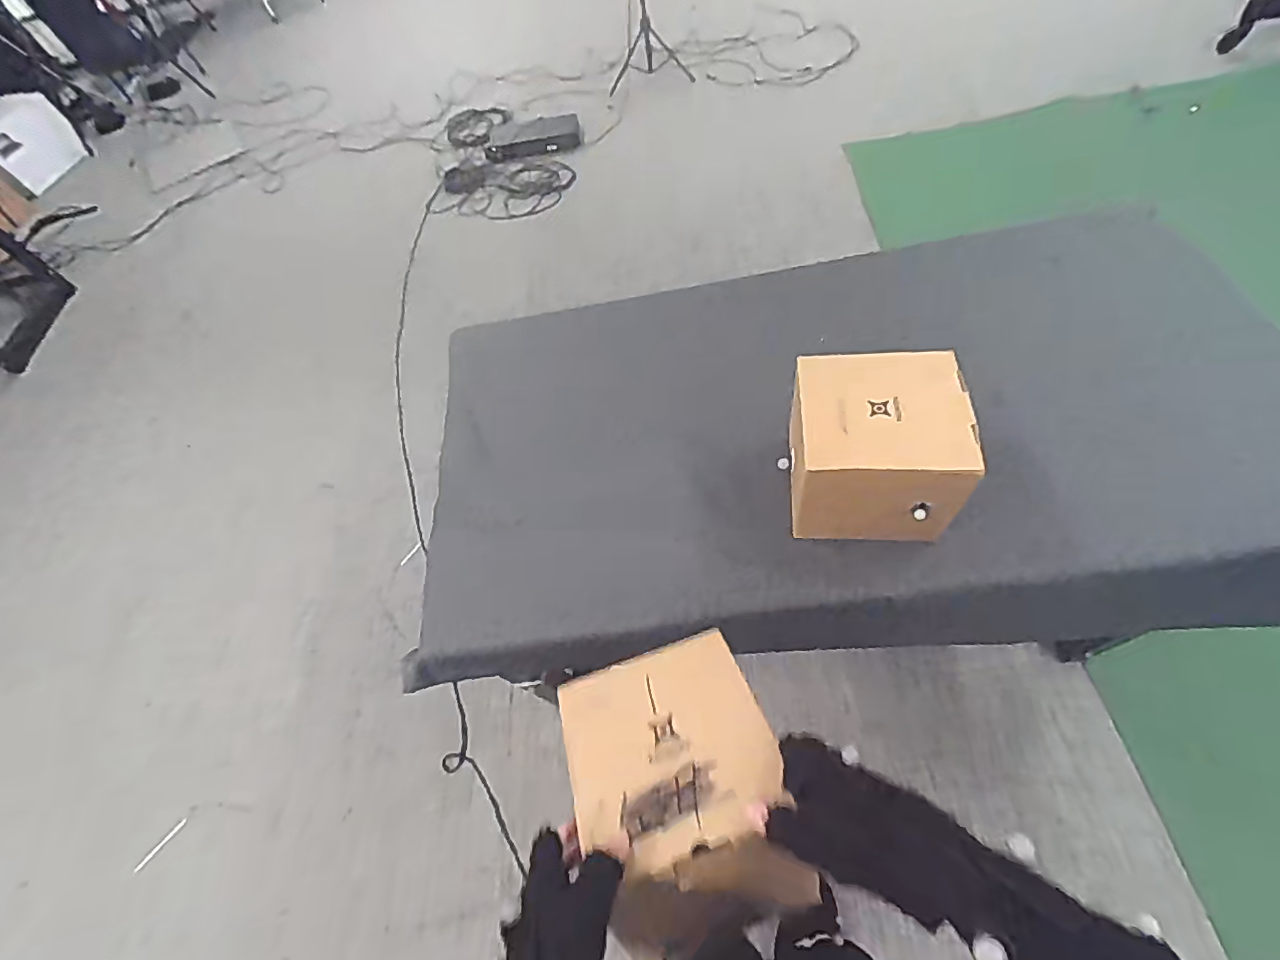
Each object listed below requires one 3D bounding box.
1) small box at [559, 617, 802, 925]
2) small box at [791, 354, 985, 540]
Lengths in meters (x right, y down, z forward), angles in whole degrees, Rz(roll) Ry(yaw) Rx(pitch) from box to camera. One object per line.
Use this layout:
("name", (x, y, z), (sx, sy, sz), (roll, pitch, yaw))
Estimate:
("small box", (0.036, 0.266, 0.495), (0.168, 0.176, 0.179), (-18, 33, -5))
("small box", (0.284, -0.035, 0.664), (0.179, 0.176, 0.168), (0, 59, 12))
